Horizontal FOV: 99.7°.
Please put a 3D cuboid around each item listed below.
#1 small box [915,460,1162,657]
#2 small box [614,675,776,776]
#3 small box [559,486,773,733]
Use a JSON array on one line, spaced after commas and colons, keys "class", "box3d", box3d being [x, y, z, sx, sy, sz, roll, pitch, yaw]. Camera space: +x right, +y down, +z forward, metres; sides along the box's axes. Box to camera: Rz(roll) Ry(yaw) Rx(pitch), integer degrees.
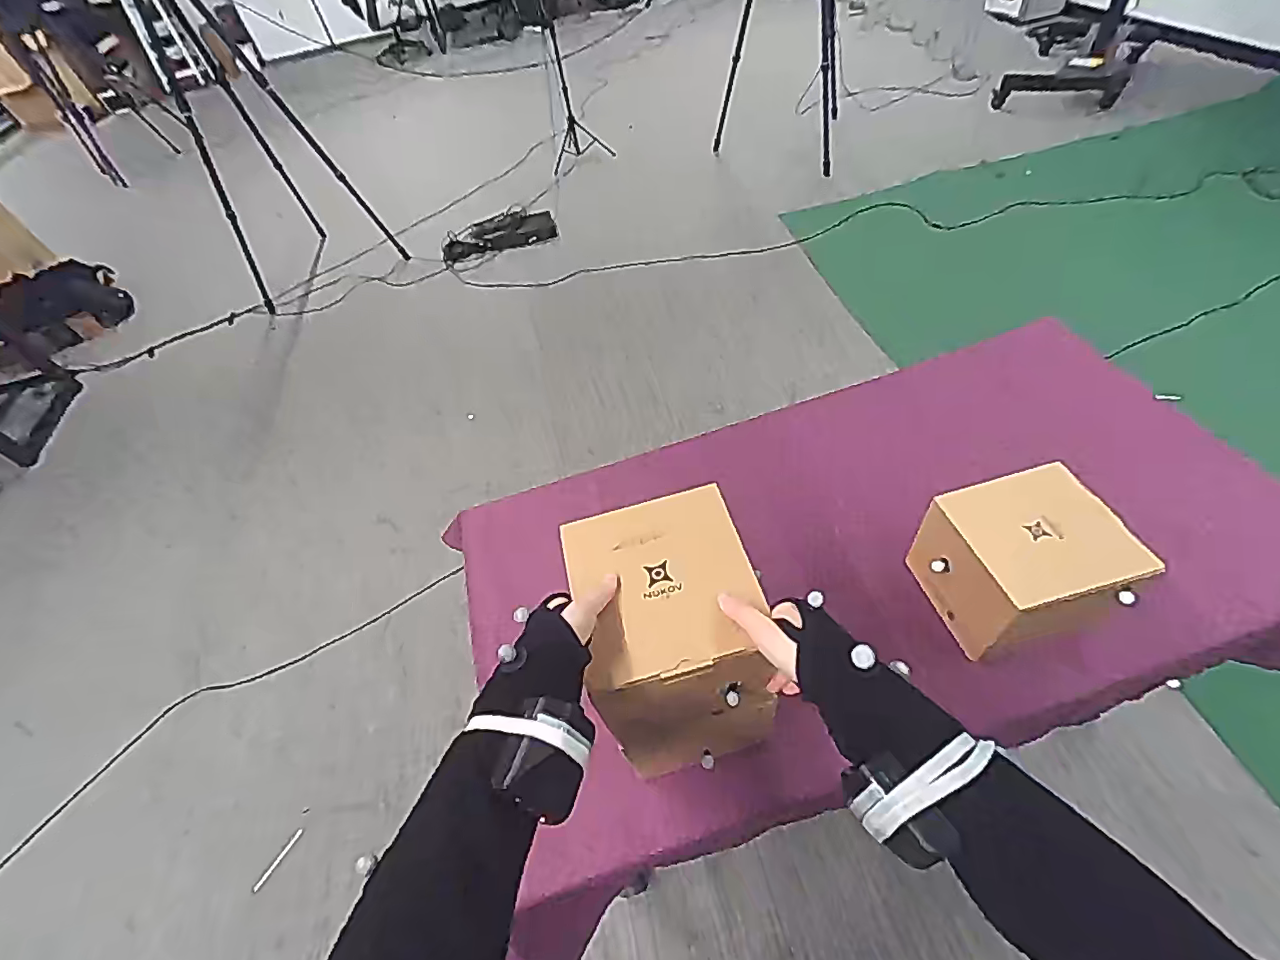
[{"class": "small box", "box3d": [0.483, 0.106, 0.697, 0.179, 0.176, 0.168, -16, 51, -2]}, {"class": "small box", "box3d": [0.052, 0.244, 0.673, 0.179, 0.176, 0.168, -16, 50, -3]}, {"class": "small box", "box3d": [0.027, 0.139, 0.550, 0.168, 0.176, 0.179, -15, 50, -2]}]
